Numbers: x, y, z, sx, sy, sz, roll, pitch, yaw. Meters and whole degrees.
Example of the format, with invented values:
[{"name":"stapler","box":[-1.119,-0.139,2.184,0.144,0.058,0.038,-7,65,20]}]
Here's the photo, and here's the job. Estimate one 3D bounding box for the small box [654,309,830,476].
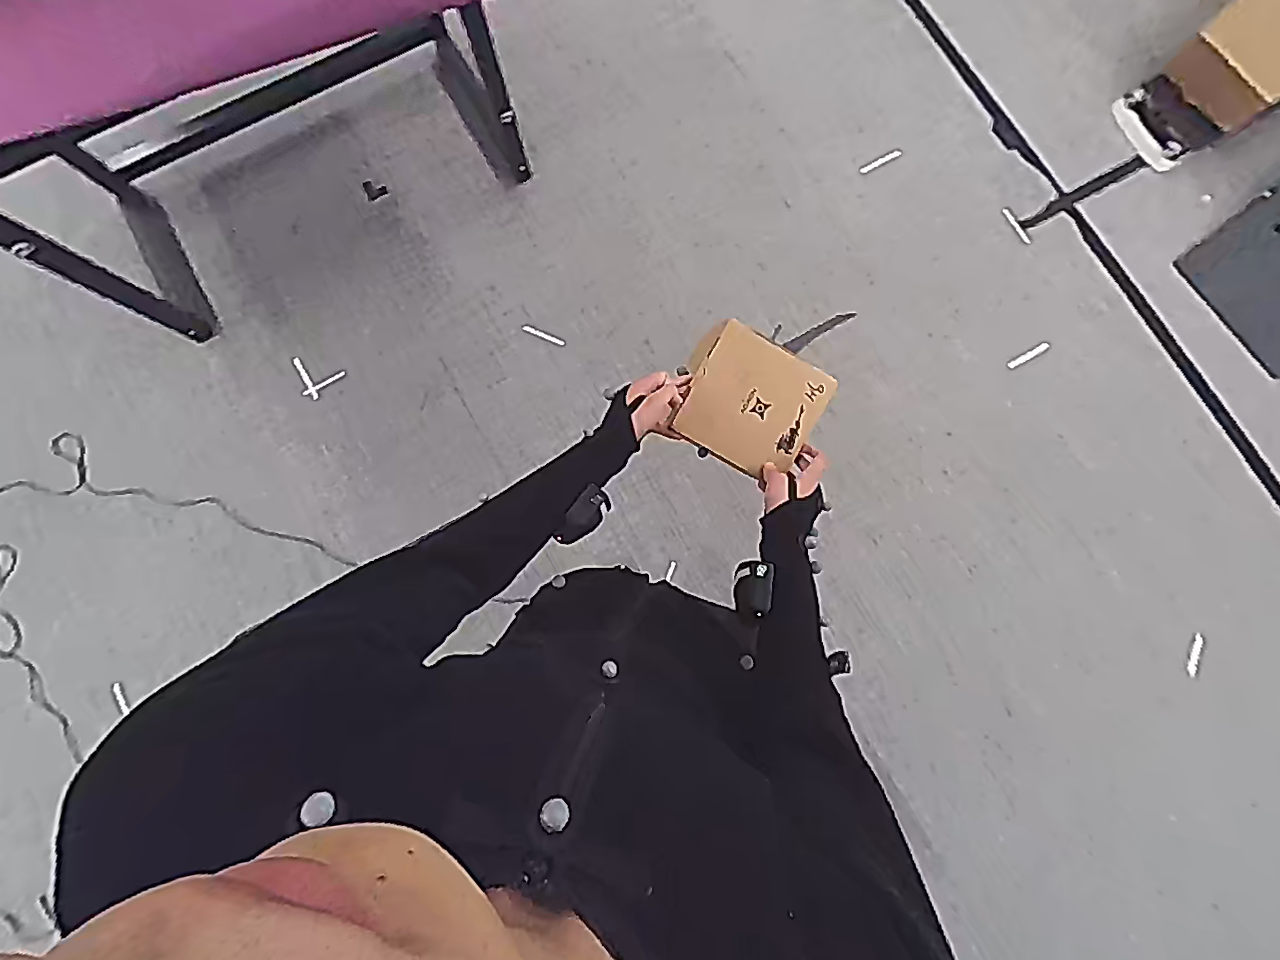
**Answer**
[{"name":"small box","box":[0.134,-0.122,0.793,0.179,0.176,0.168,28,95,-7]}]
